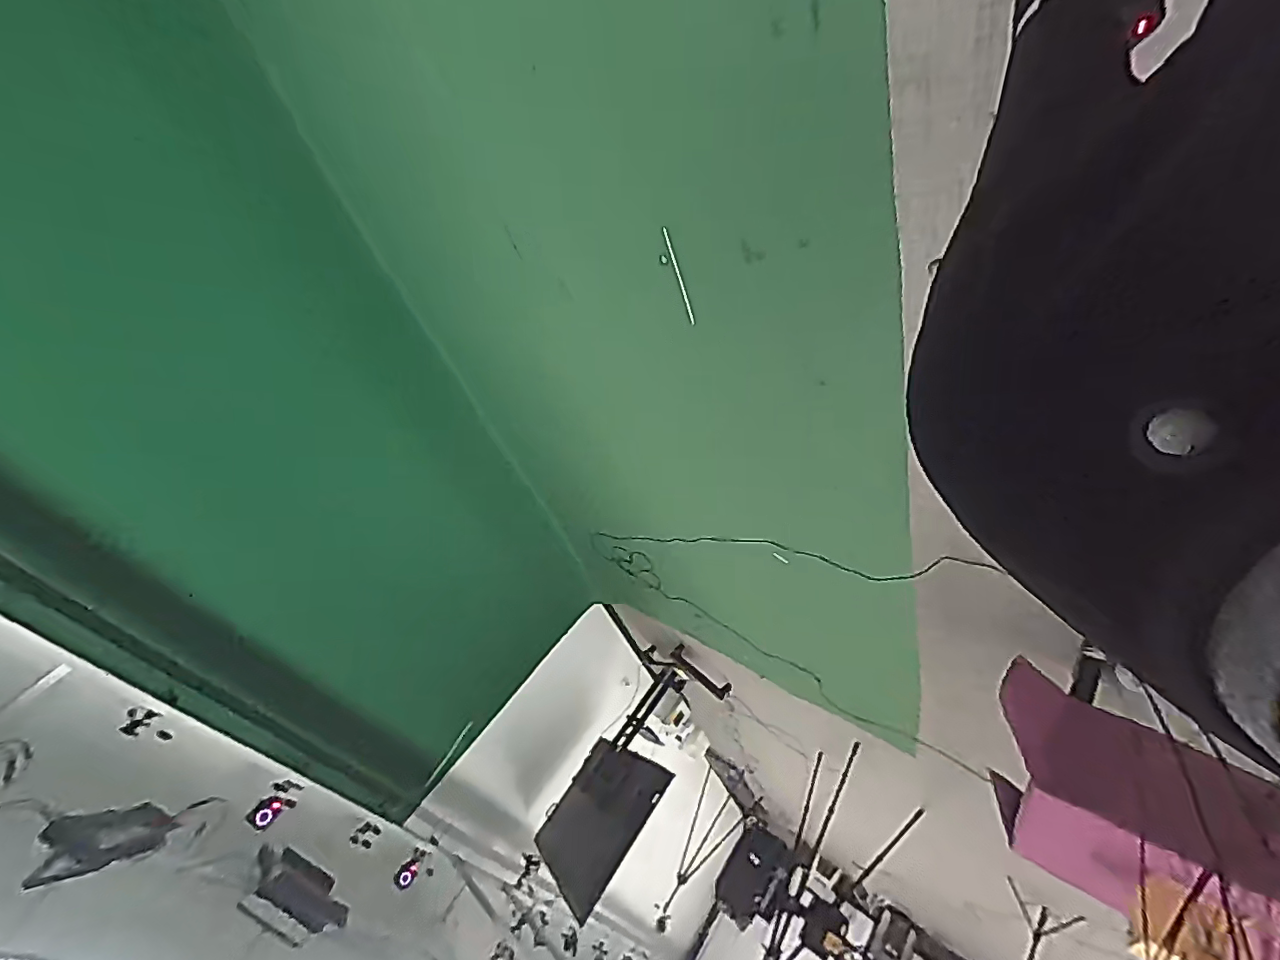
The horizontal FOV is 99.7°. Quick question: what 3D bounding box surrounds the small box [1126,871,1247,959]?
[{"bbox_3d":[1.322,1.094,1.311,0.168,0.176,0.179,19,146,38],"label":"small box"}]
